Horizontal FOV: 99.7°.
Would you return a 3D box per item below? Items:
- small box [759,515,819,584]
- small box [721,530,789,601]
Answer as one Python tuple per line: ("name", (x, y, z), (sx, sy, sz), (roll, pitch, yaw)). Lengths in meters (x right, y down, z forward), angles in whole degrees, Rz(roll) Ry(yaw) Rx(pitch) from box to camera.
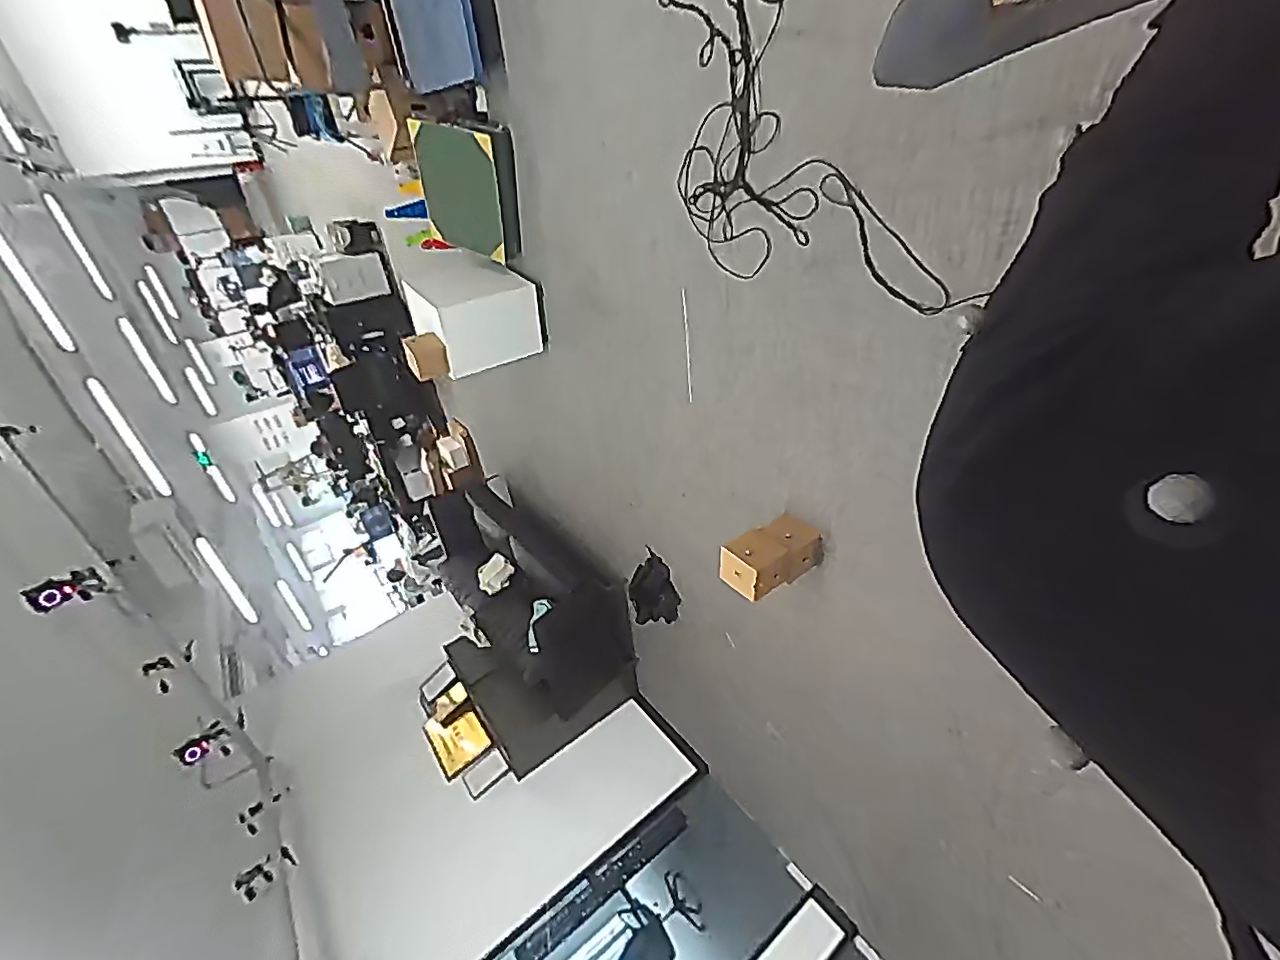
("small box", (0.558, 0.258, 2.066), (0.179, 0.176, 0.168), (34, 140, 42))
("small box", (0.420, 0.306, 1.992), (0.179, 0.176, 0.168), (35, 140, 42))
